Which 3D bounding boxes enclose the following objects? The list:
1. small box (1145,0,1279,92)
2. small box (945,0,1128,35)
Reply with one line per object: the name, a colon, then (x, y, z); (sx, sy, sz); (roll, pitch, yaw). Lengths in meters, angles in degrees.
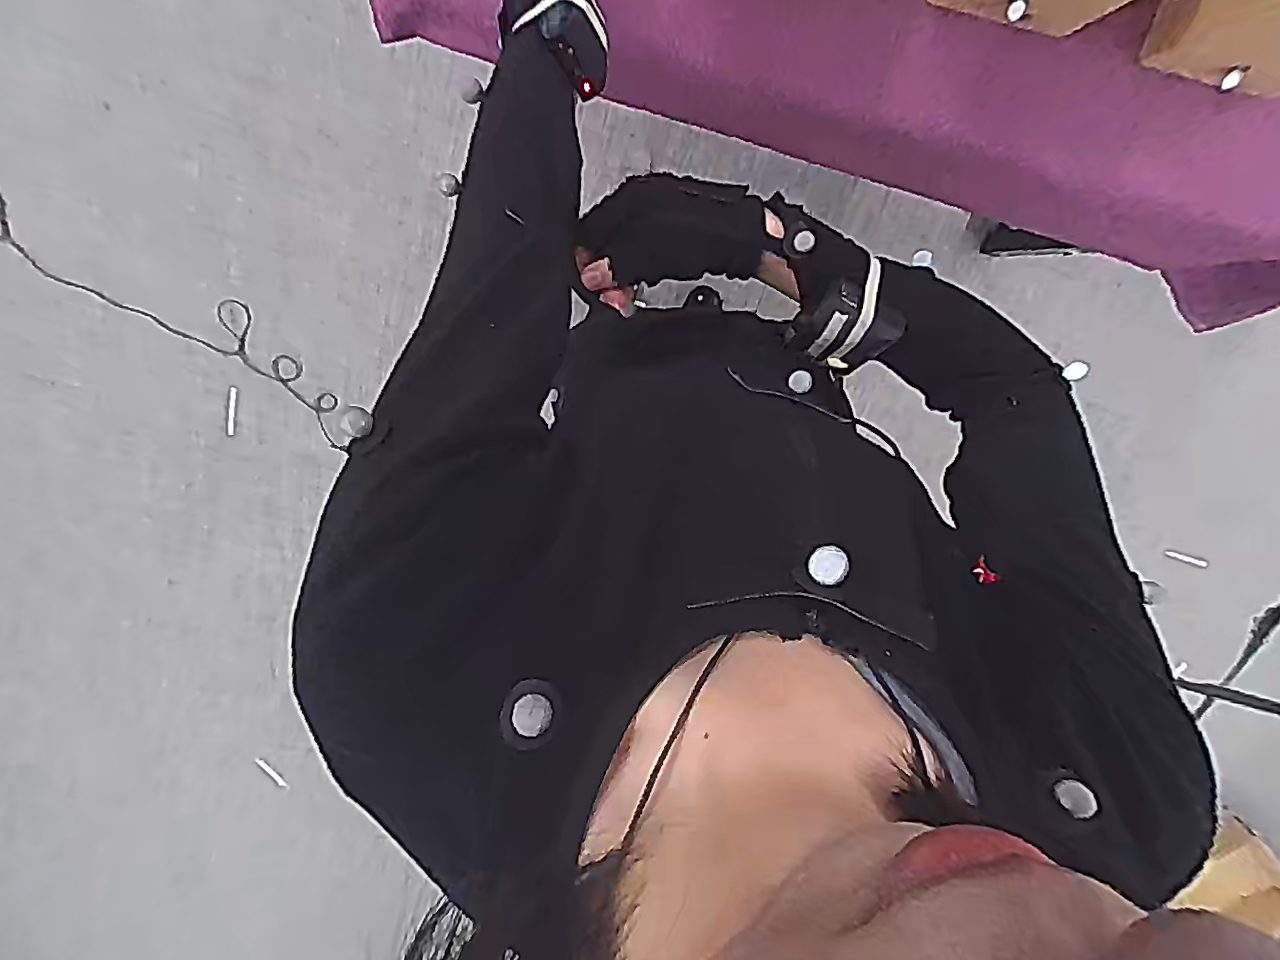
small box: (0.673, -0.508, 0.524); (0.179, 0.176, 0.168); (10, 110, -6)
small box: (0.416, -0.561, 0.494); (0.168, 0.176, 0.179); (10, 111, -5)
